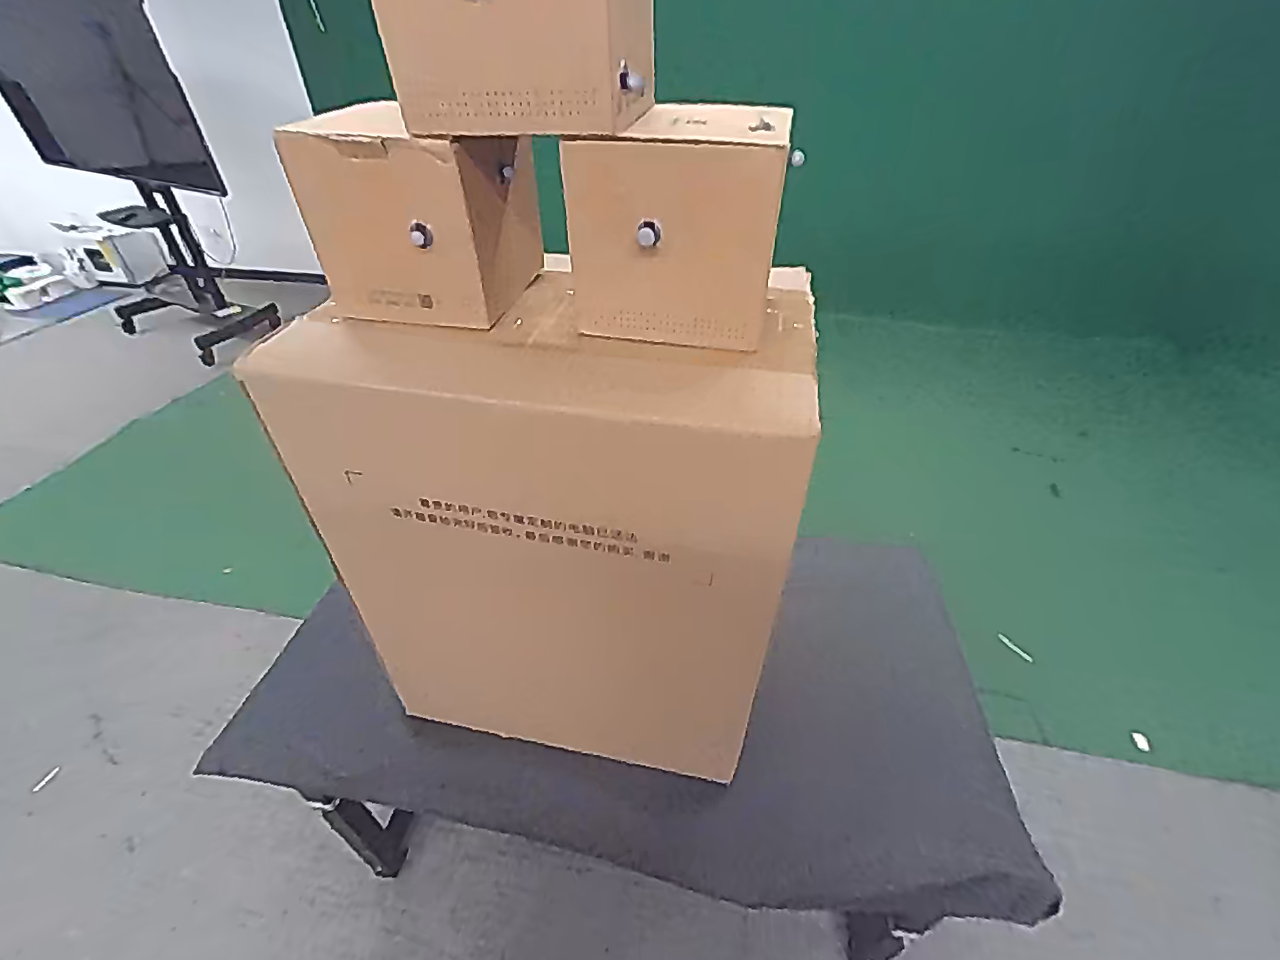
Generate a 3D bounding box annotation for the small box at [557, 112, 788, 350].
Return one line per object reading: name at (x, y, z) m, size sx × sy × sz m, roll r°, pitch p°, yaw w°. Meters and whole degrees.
small box at (0.039, -0.239, 0.517) m, size 0.179 × 0.176 × 0.168 m, roll 8°, pitch 43°, yaw 11°

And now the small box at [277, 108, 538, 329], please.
small box at (-0.212, -0.271, 0.558) m, size 0.168 × 0.176 × 0.179 m, roll 8°, pitch 41°, yaw 8°

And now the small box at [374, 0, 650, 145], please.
small box at (-0.090, -0.378, 0.429) m, size 0.179 × 0.176 × 0.168 m, roll 6°, pitch 42°, yaw 10°
